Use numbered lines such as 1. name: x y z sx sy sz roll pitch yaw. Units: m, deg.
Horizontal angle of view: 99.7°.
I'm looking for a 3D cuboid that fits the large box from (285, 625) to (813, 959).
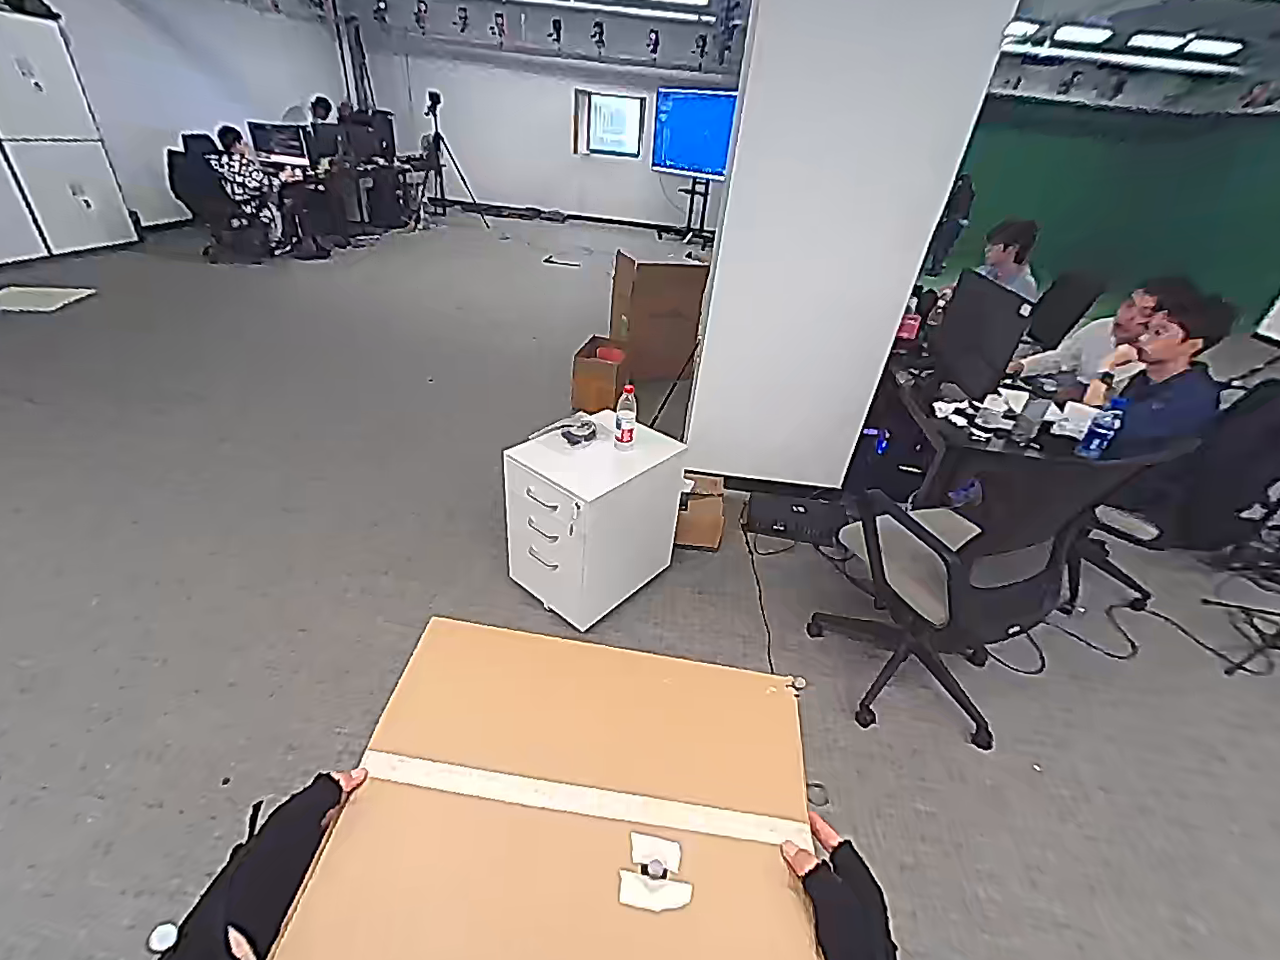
1. large box: -0.068 0.402 0.590 0.408 0.320 0.320 10 42 0
